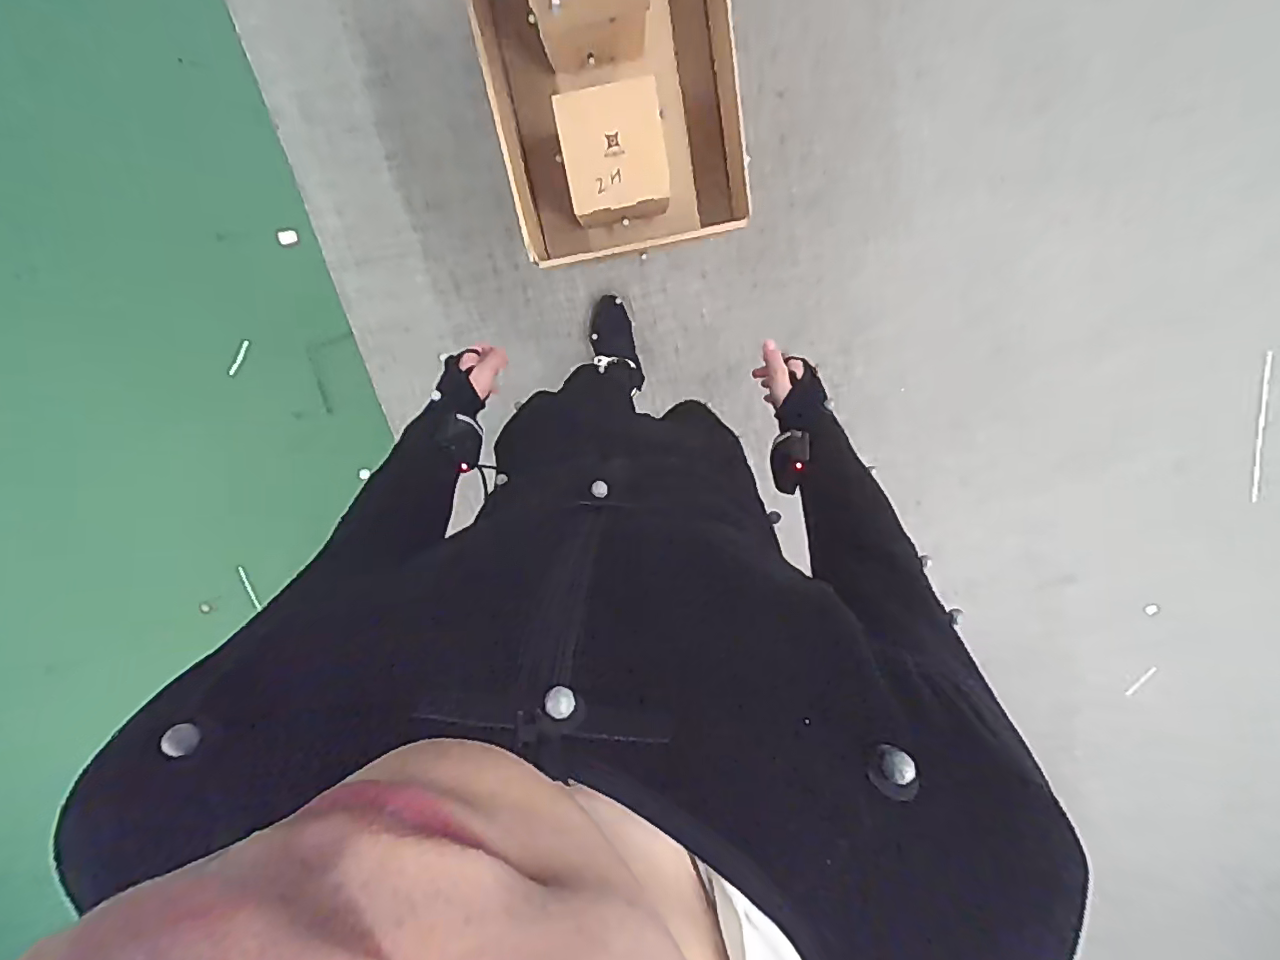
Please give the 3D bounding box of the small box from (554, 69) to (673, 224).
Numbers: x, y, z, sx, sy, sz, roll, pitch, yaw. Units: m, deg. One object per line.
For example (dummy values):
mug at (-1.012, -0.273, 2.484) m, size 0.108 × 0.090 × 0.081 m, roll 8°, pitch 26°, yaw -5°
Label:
small box at (-0.040, -0.561, 0.933) m, size 0.168 × 0.176 × 0.179 m, roll -10°, pitch 108°, yaw 4°

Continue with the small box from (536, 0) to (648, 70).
small box at (-0.087, -0.798, 0.859) m, size 0.168 × 0.176 × 0.179 m, roll -12°, pitch 111°, yaw 4°
